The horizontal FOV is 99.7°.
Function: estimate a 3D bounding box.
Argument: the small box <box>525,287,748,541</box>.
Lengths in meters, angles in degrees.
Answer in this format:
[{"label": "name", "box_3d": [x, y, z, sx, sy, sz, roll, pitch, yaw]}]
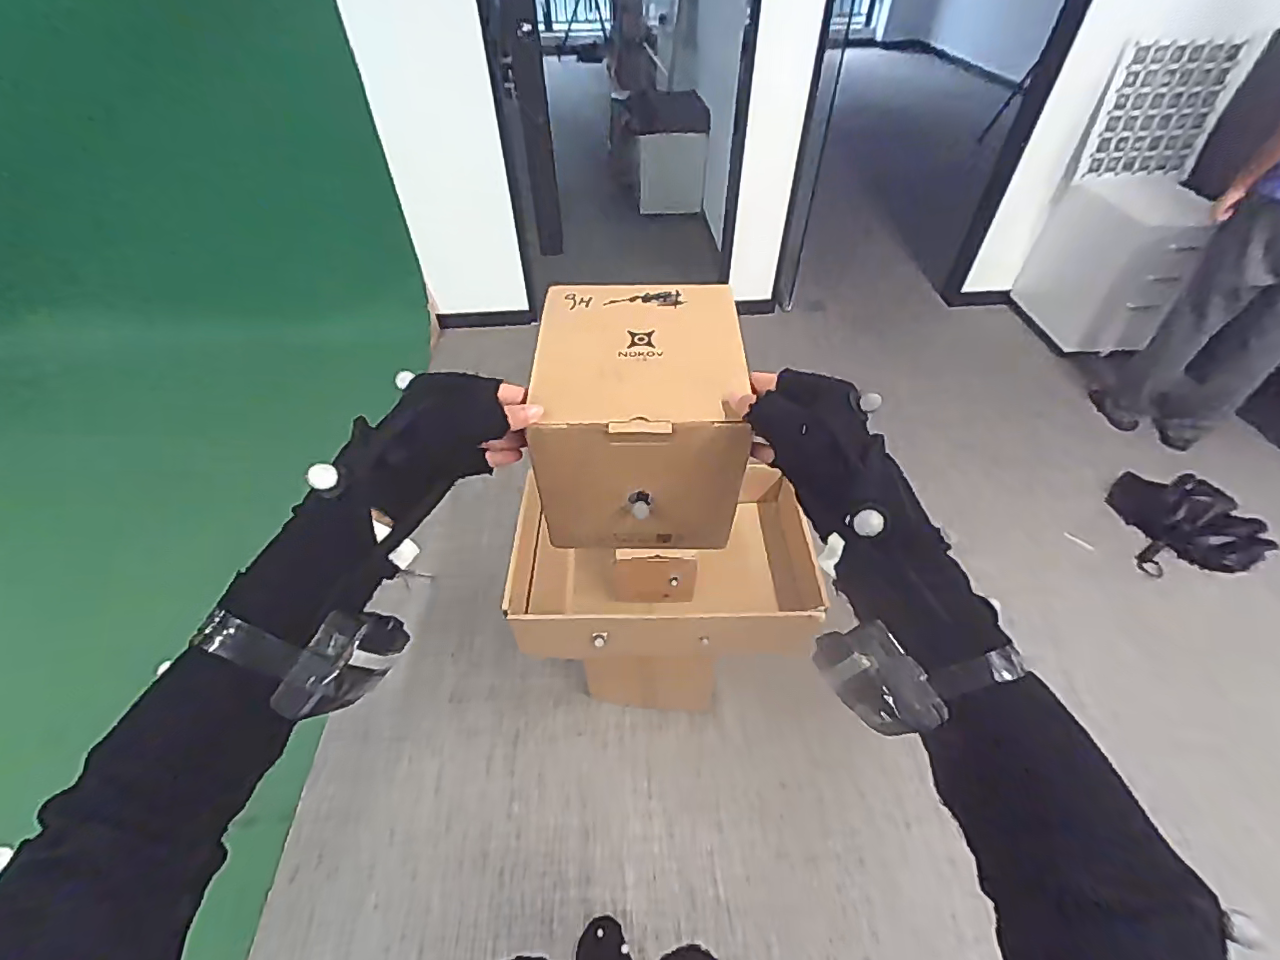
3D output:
[{"label": "small box", "box_3d": [0.001, -0.056, 0.501, 0.168, 0.176, 0.179, 1, 52, 0]}]

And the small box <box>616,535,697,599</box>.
[{"label": "small box", "box_3d": [0.031, 0.145, 1.177, 0.168, 0.176, 0.179, 0, 45, -2]}]
